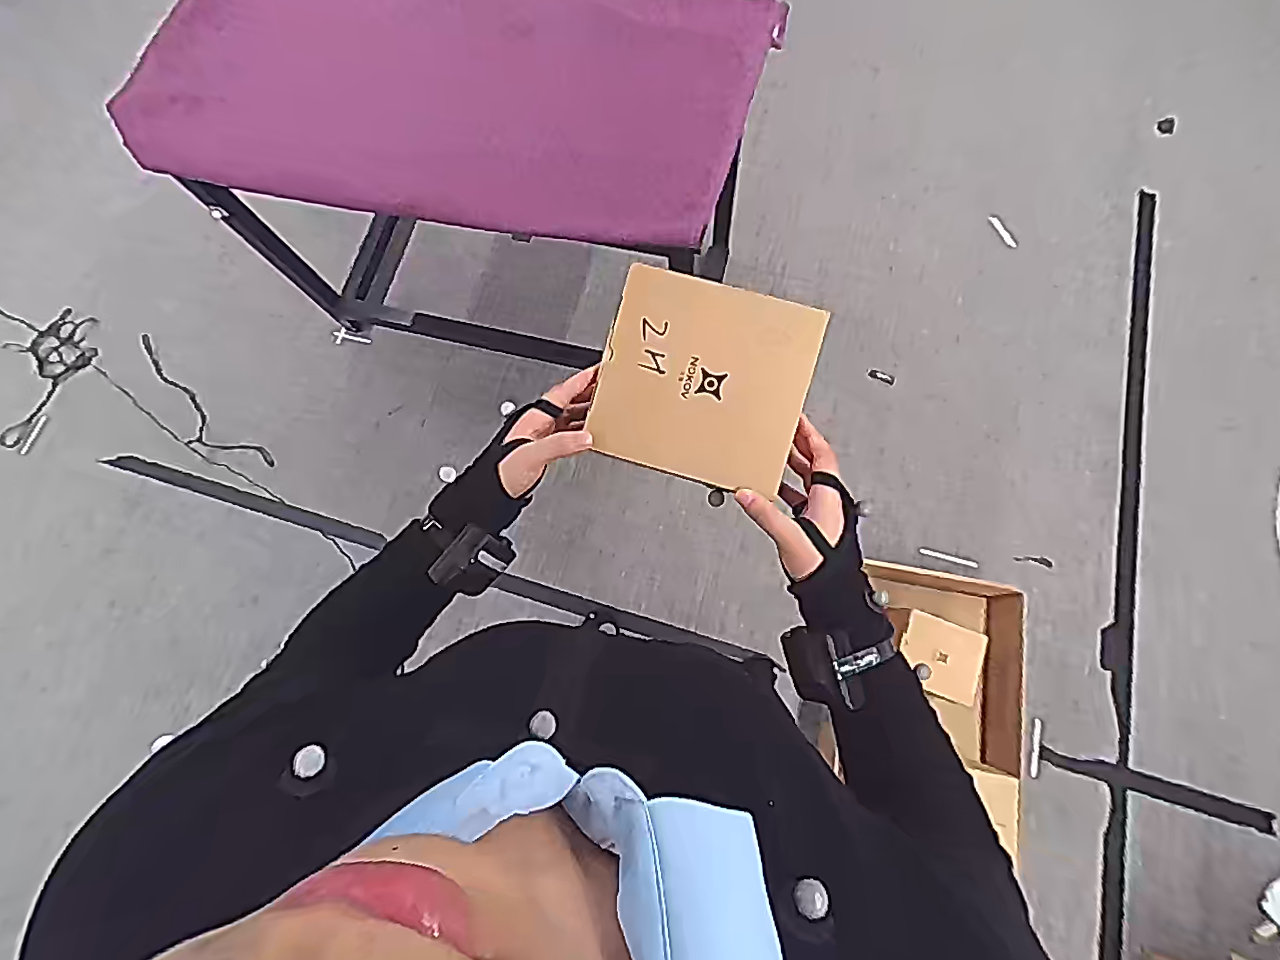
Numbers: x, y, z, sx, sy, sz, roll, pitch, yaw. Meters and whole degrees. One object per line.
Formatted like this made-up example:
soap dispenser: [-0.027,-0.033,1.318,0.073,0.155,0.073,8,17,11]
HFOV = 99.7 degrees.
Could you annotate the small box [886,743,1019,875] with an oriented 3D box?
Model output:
small box: [0.609,0.637,1.072,0.179,0.176,0.168,11,76,6]

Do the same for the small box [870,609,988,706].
small box: [0.685,0.417,1.299,0.179,0.176,0.168,20,79,9]

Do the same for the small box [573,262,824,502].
small box: [0.054,-0.084,0.532,0.179,0.176,0.168,17,91,5]
